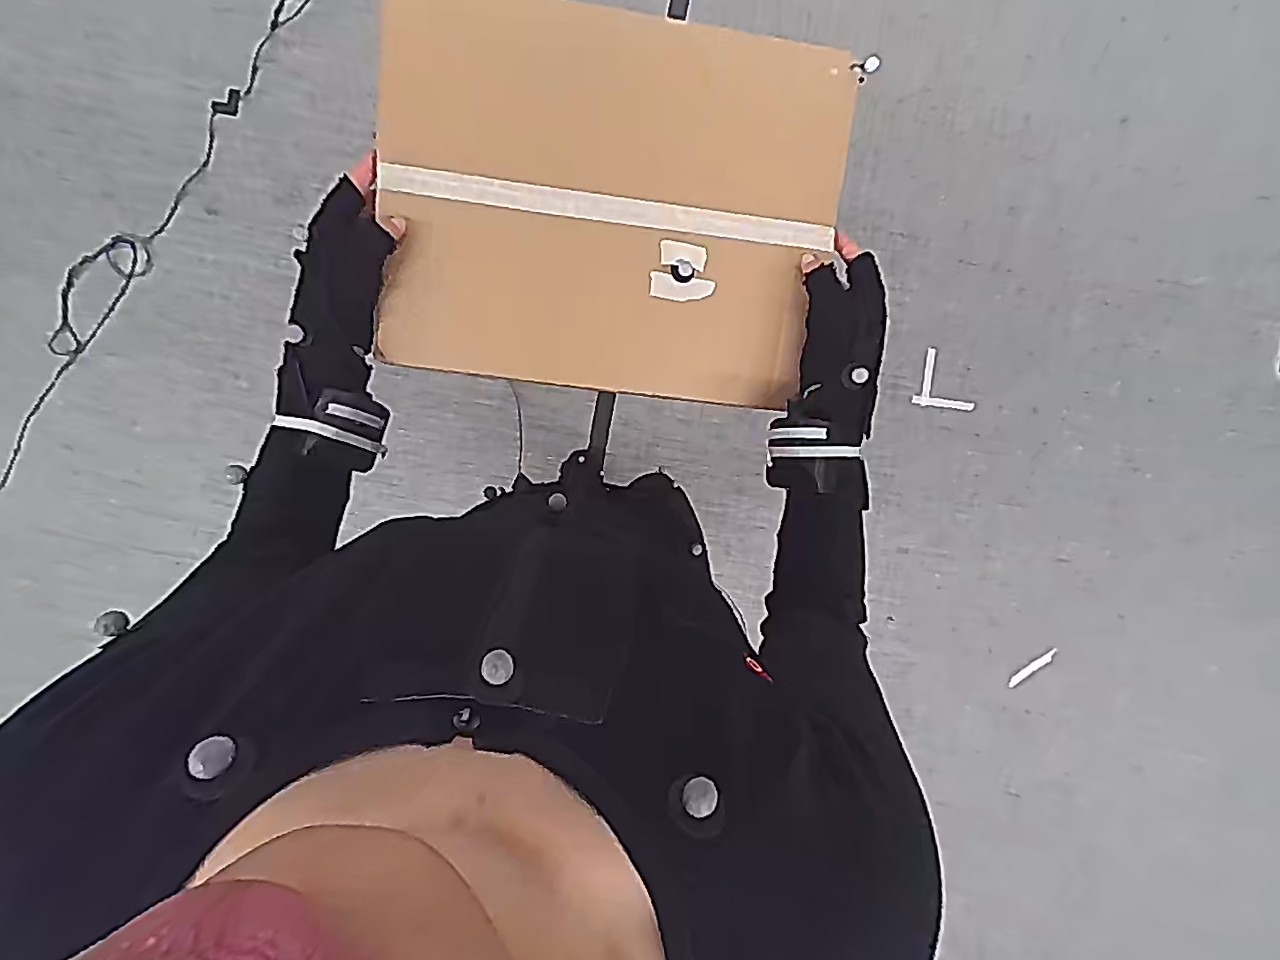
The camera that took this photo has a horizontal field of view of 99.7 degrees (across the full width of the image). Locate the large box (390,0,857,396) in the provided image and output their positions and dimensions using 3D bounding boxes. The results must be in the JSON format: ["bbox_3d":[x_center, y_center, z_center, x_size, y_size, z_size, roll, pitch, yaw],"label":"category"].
[{"bbox_3d":[-0.031,-0.273,0.631,0.408,0.320,0.320,6,100,-6],"label":"large box"}]
